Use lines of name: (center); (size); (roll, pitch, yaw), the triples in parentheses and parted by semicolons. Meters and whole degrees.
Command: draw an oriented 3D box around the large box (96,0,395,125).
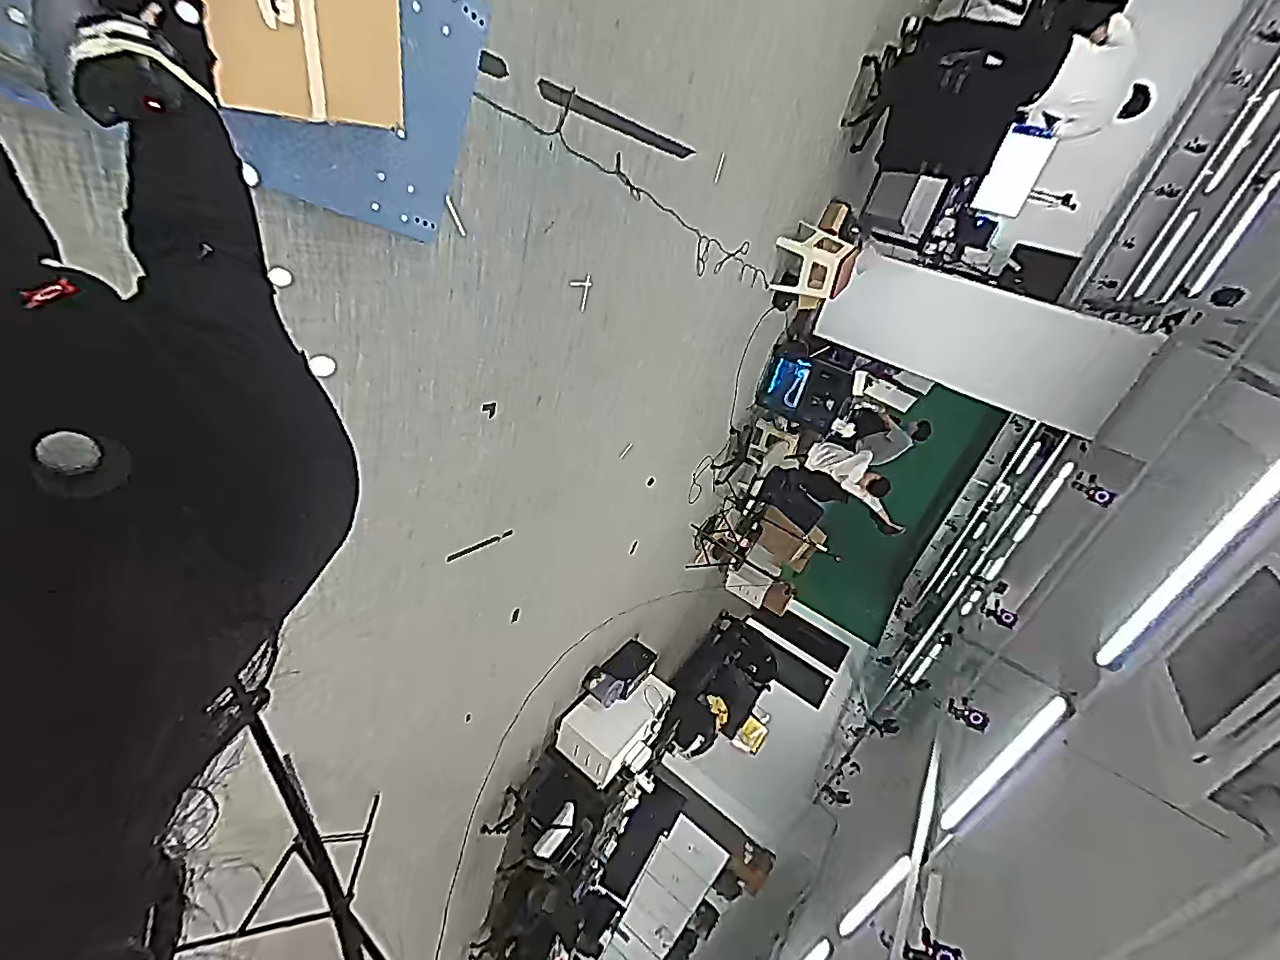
large box: (-0.611, -0.822, 0.818); (0.320, 0.320, 0.408); (-31, 144, -48)
